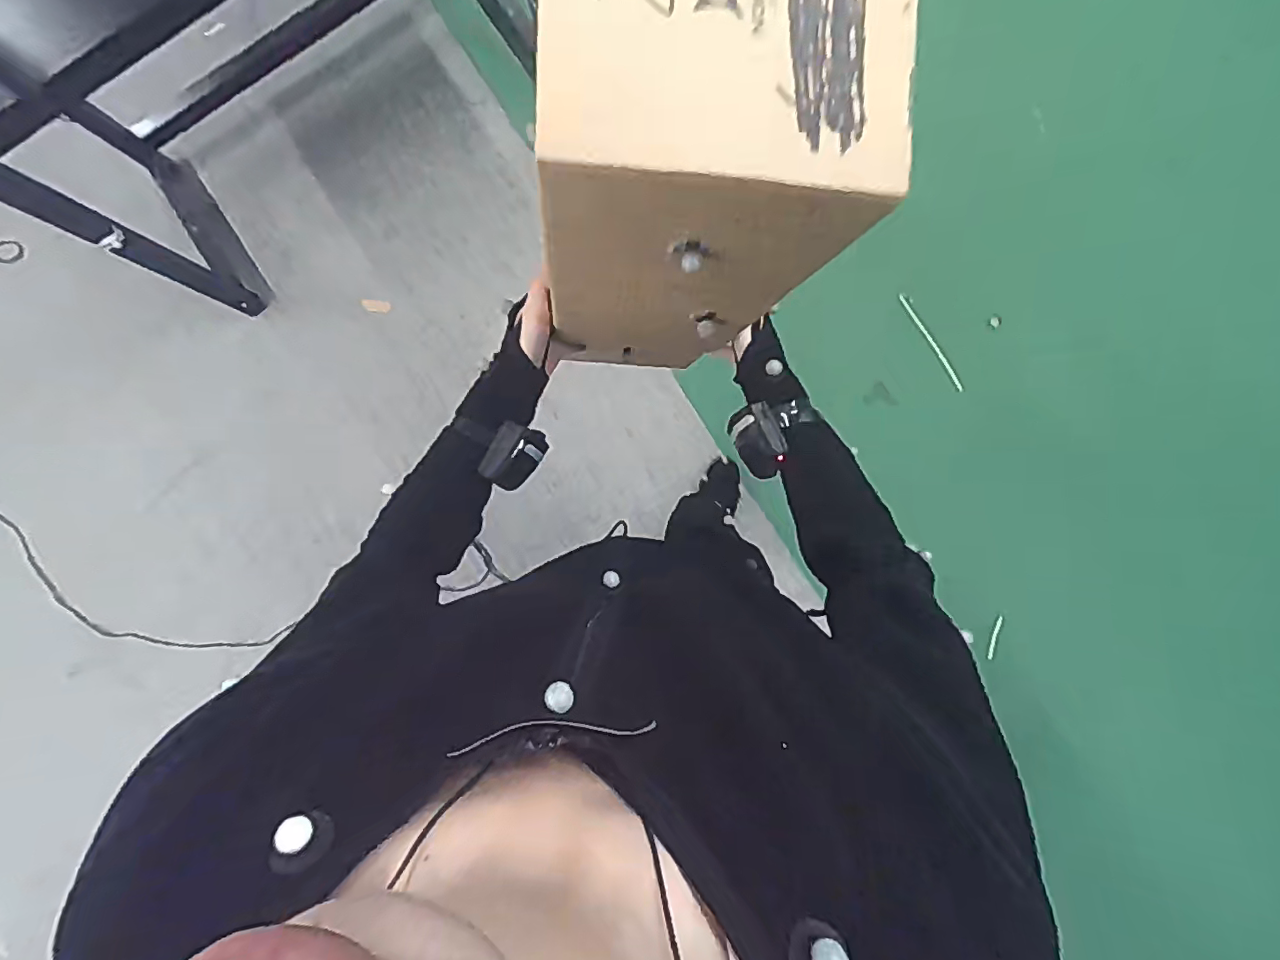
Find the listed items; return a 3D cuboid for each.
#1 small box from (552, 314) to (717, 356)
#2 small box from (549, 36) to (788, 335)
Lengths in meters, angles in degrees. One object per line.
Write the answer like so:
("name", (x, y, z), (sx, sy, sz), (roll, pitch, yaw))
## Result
("small box", (-0.011, -0.244, 0.632), (0.179, 0.176, 0.168), (2, 92, -7))
("small box", (0.011, -0.229, 0.471), (0.179, 0.176, 0.168), (0, 91, -8))
